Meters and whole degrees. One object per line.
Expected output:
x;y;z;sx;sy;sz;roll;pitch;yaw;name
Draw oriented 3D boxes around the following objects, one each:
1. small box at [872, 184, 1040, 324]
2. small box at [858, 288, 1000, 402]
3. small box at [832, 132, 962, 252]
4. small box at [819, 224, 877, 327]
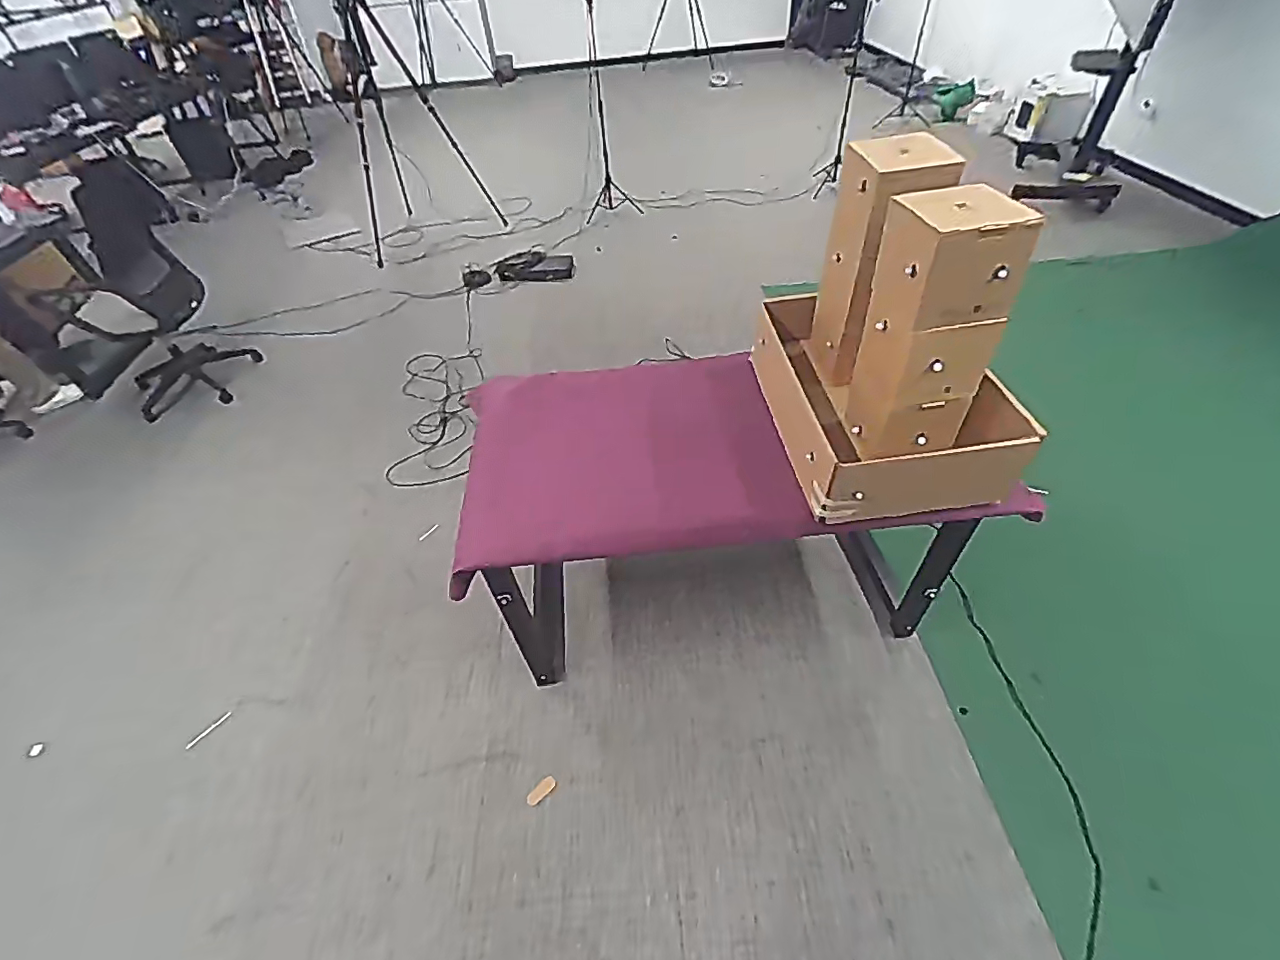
0.523;-0.381;0.927;0.168;0.176;0.179;-8;45;-1;small box
0.541;-0.264;1.040;0.168;0.176;0.179;-8;45;0;small box
0.511;-0.581;1.105;0.168;0.176;0.179;-7;48;-1;small box
0.523;-0.474;1.231;0.168;0.176;0.179;-9;48;-1;small box
